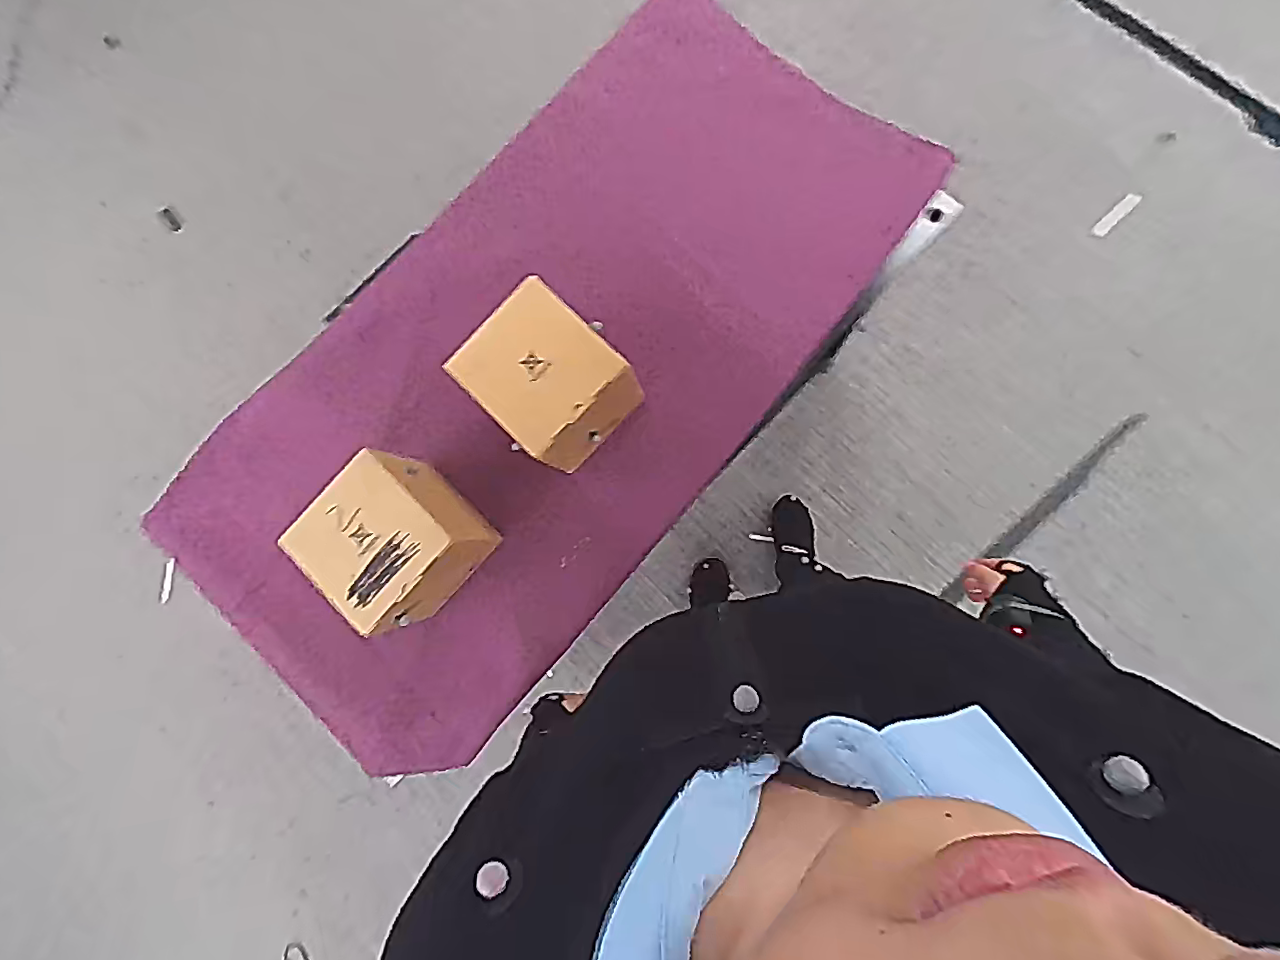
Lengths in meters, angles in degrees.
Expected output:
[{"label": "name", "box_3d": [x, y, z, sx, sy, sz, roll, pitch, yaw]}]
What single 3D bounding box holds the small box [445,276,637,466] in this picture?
[{"label": "small box", "box_3d": [-0.125, -0.137, 0.753, 0.179, 0.176, 0.168, 44, 91, 8]}]
